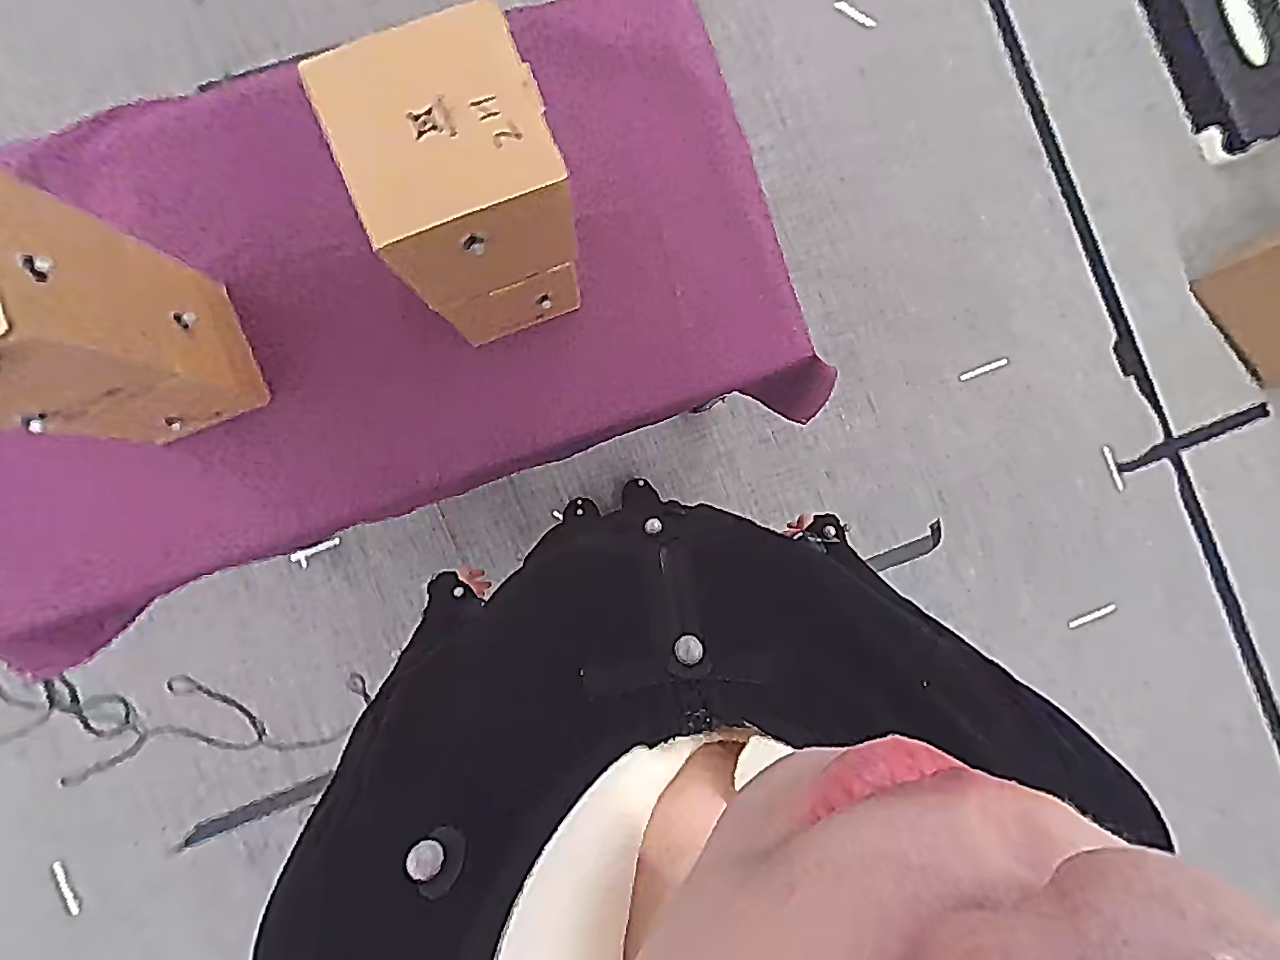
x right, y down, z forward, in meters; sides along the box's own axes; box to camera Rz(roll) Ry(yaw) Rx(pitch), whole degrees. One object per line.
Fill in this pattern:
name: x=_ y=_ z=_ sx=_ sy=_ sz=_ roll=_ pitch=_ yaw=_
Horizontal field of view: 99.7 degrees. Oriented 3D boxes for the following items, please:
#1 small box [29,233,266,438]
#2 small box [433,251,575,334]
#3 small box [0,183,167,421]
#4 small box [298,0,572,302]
small box: x=-0.616 y=-0.163 z=0.666 sx=0.168 sy=0.176 sz=0.179 roll=-22 pitch=92 yaw=-4
small box: x=-0.189 y=-0.302 z=0.692 sx=0.168 sy=0.176 sz=0.179 roll=-21 pitch=91 yaw=-4
small box: x=-0.606 y=-0.162 z=0.502 sx=0.168 sy=0.176 sz=0.179 roll=-24 pitch=92 yaw=-4
small box: x=-0.178 y=-0.298 z=0.528 sx=0.179 sy=0.176 sz=0.168 roll=-22 pitch=92 yaw=-4
